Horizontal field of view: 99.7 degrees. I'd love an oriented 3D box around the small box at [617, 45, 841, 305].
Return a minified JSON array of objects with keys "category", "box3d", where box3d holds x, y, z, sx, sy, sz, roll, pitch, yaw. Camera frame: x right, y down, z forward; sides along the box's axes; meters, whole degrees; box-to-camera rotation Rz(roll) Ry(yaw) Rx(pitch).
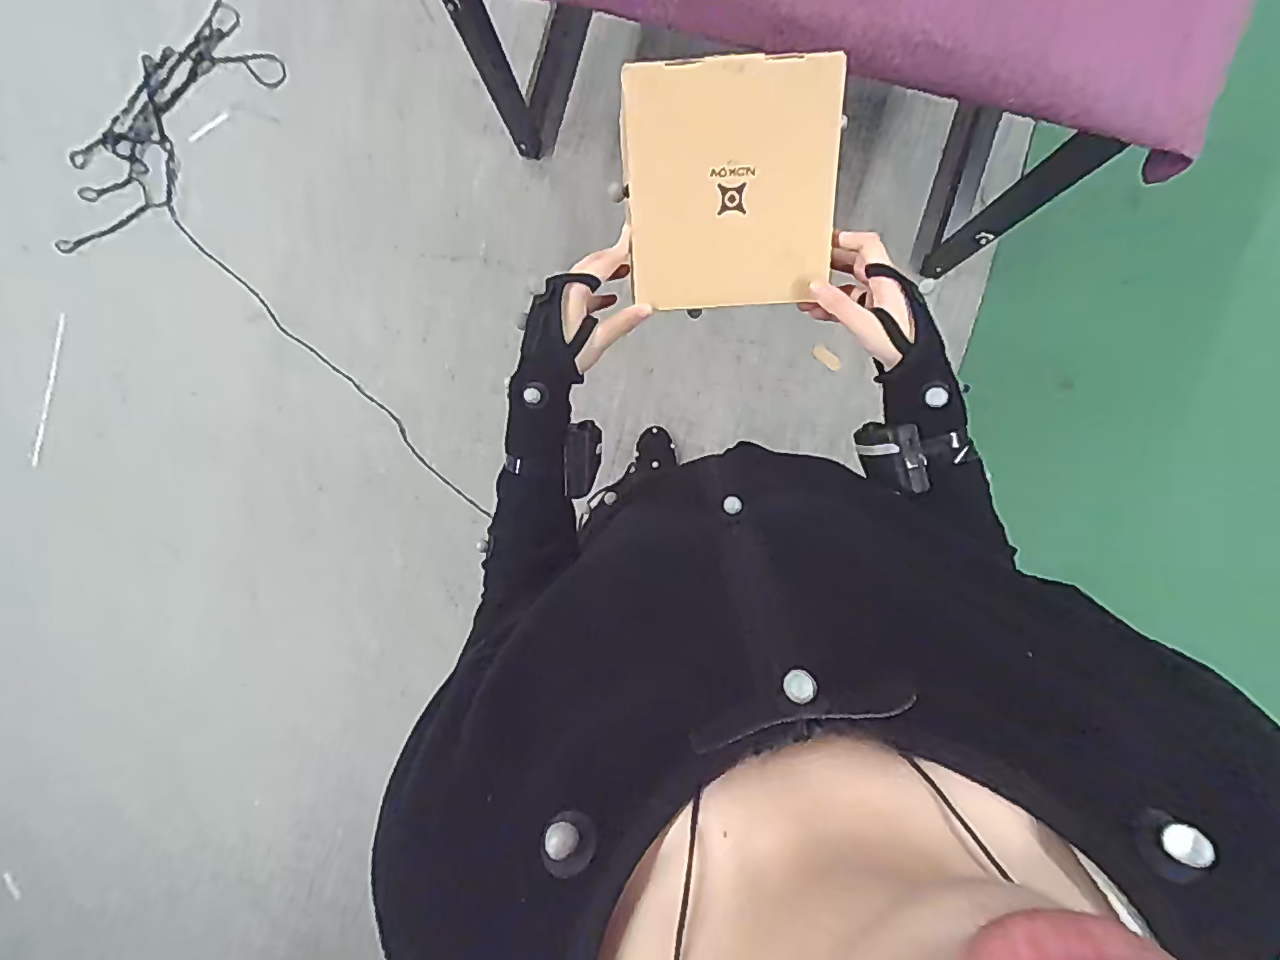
[{"category":"small box","box3d":[0.067,-0.263,0.499,0.168,0.176,0.179,-3,112,-1]}]
